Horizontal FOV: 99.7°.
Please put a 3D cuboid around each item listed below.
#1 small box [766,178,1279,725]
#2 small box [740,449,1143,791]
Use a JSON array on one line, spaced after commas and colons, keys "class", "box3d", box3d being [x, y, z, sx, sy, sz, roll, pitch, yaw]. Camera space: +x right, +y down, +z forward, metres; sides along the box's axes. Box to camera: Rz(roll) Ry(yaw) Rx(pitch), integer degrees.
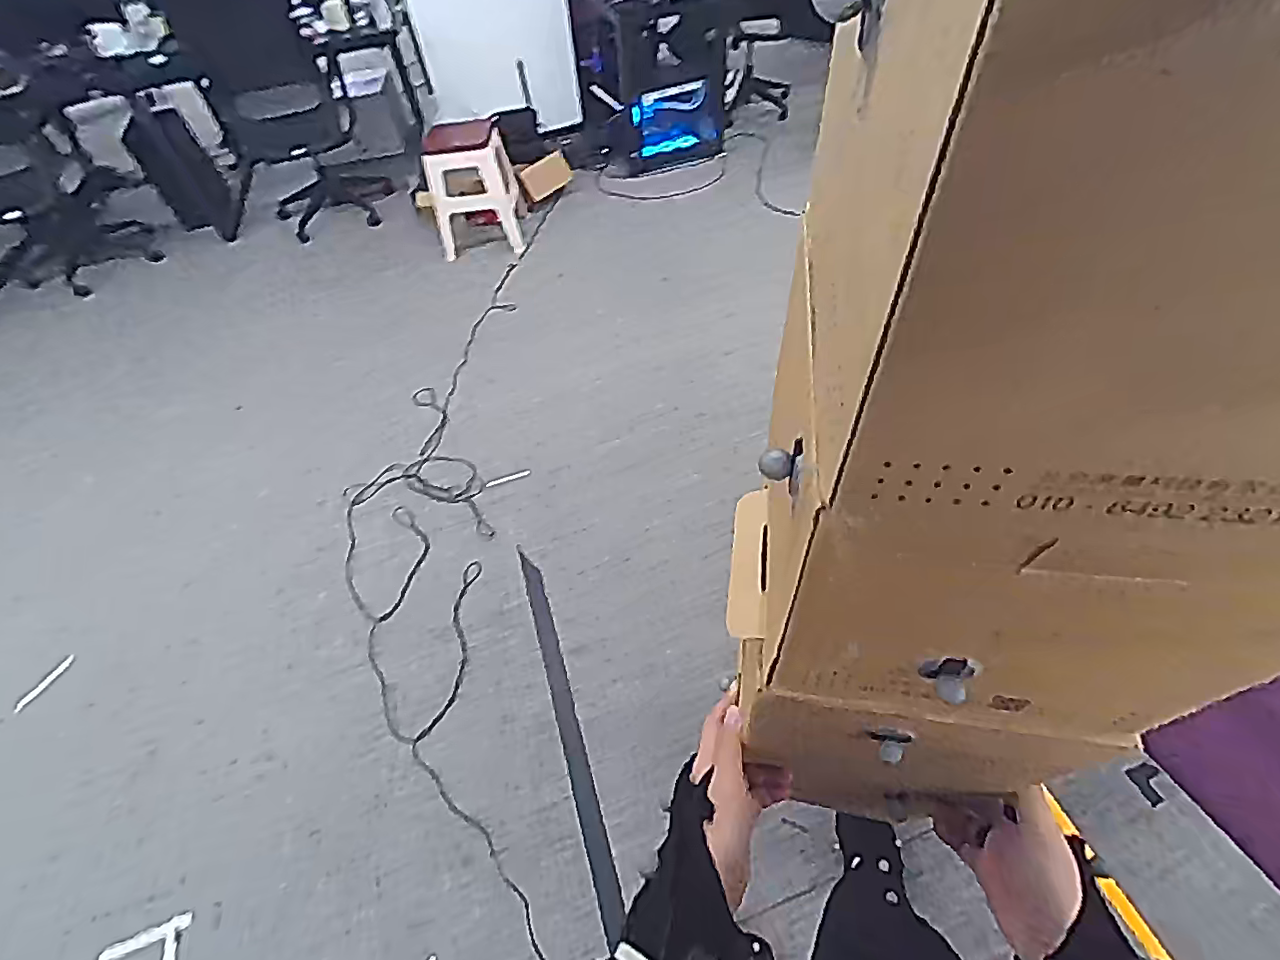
[{"class": "small box", "box3d": [0.148, -0.010, 0.244, 0.168, 0.176, 0.179, 3, 54, 9]}, {"class": "small box", "box3d": [0.162, 0.096, 0.366, 0.179, 0.176, 0.168, 5, 53, 9]}]
